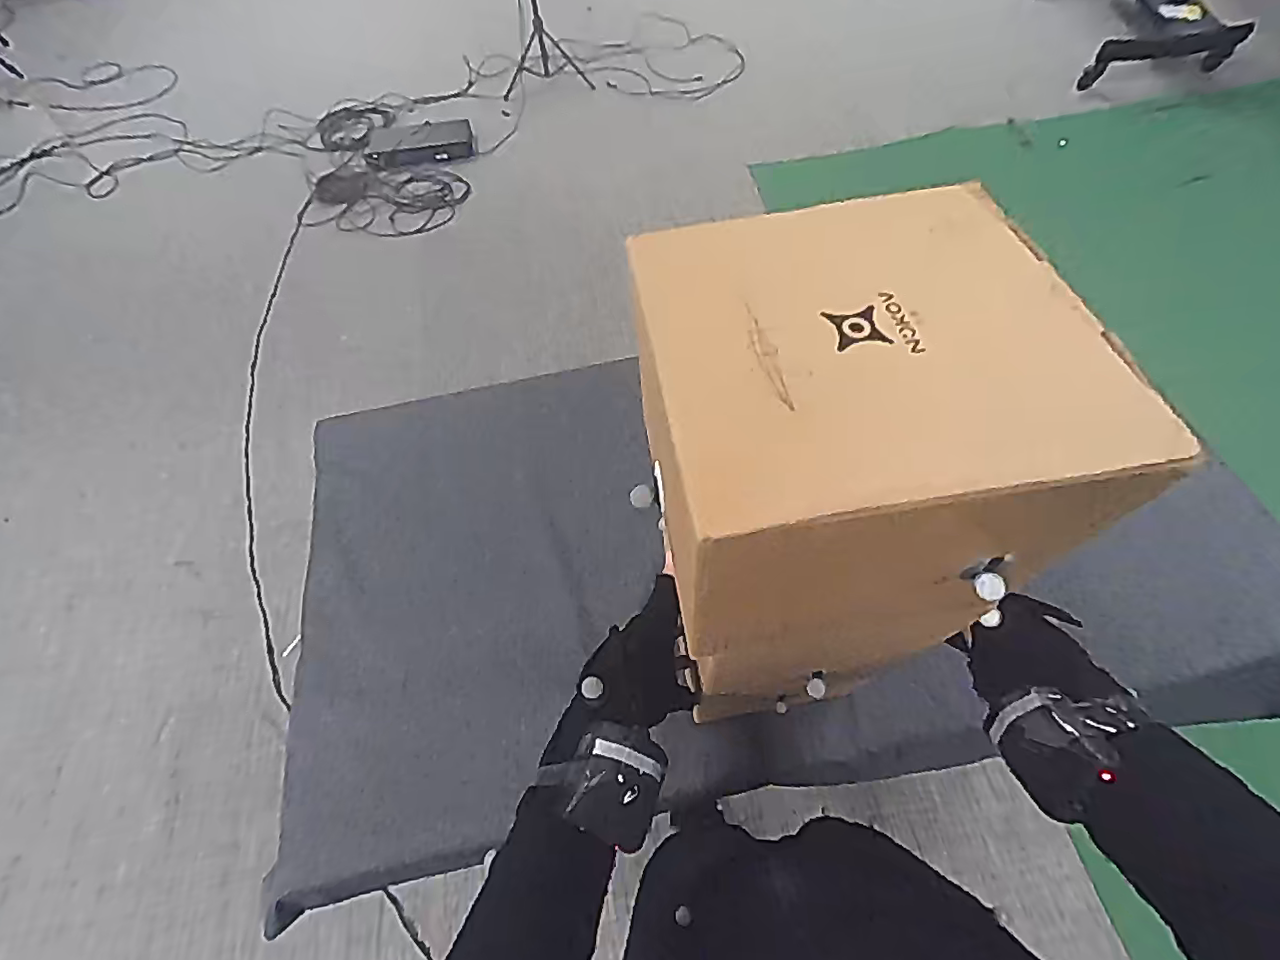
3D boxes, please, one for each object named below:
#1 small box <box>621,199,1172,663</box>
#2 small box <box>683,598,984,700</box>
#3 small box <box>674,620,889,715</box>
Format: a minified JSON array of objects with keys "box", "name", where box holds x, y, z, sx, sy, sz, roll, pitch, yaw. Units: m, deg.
[{"box":[0.093,-0.013,0.292,0.179,0.176,0.168,-11,58,0],"name":"small box"},{"box":[0.117,0.066,0.432,0.179,0.176,0.168,-9,58,-2],"name":"small box"},{"box":[0.128,0.143,0.574,0.179,0.176,0.168,-8,58,-1],"name":"small box"}]
